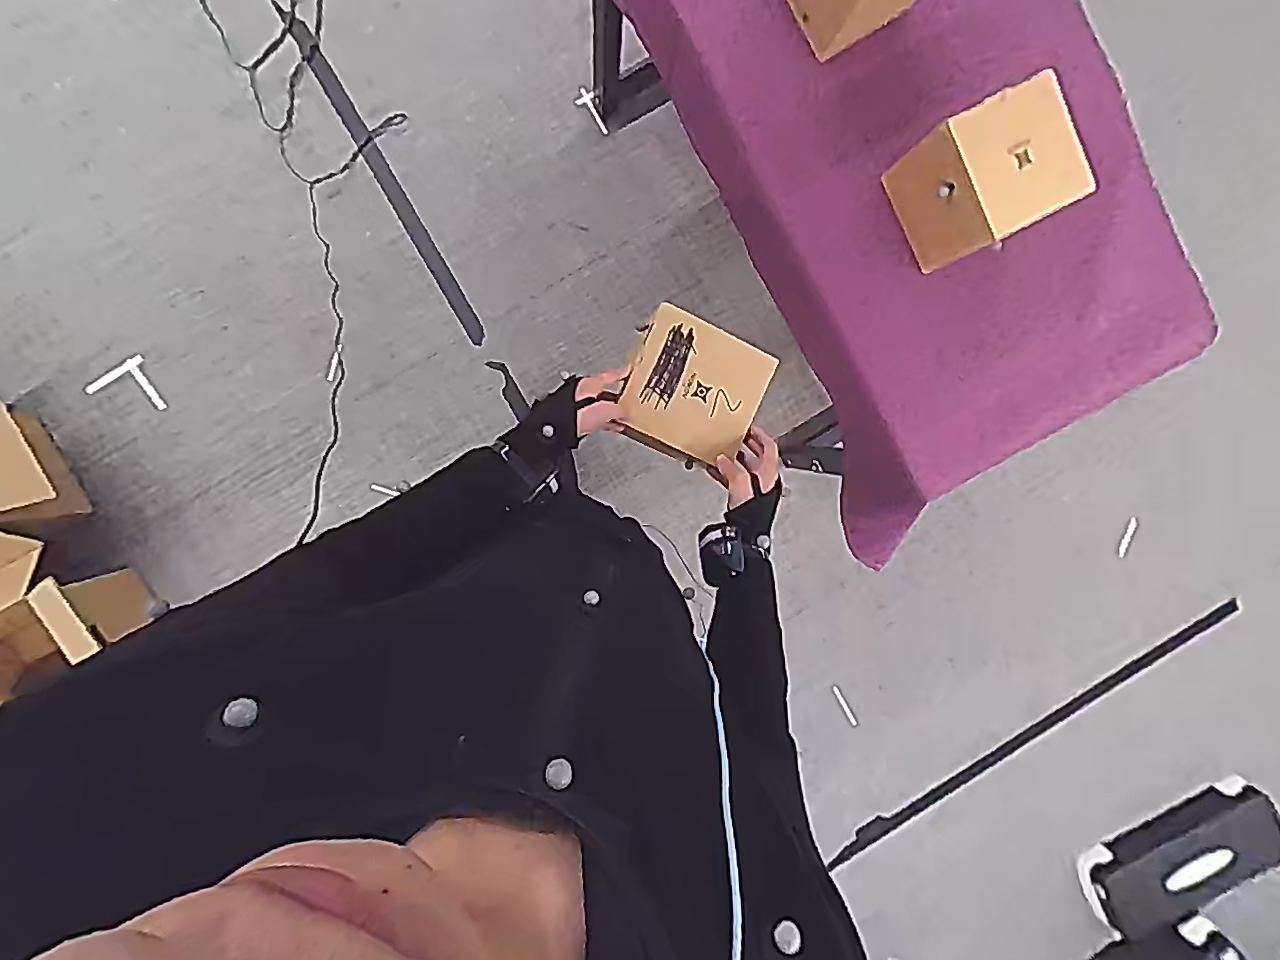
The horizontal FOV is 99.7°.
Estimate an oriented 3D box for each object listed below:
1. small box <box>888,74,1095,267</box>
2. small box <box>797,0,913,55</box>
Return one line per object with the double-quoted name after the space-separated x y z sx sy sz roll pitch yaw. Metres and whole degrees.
0.514 -0.443 0.814 0.168 0.176 0.179 -27 96 -2 "small box"
0.325 -0.763 0.765 0.179 0.176 0.168 -32 98 -2 "small box"
